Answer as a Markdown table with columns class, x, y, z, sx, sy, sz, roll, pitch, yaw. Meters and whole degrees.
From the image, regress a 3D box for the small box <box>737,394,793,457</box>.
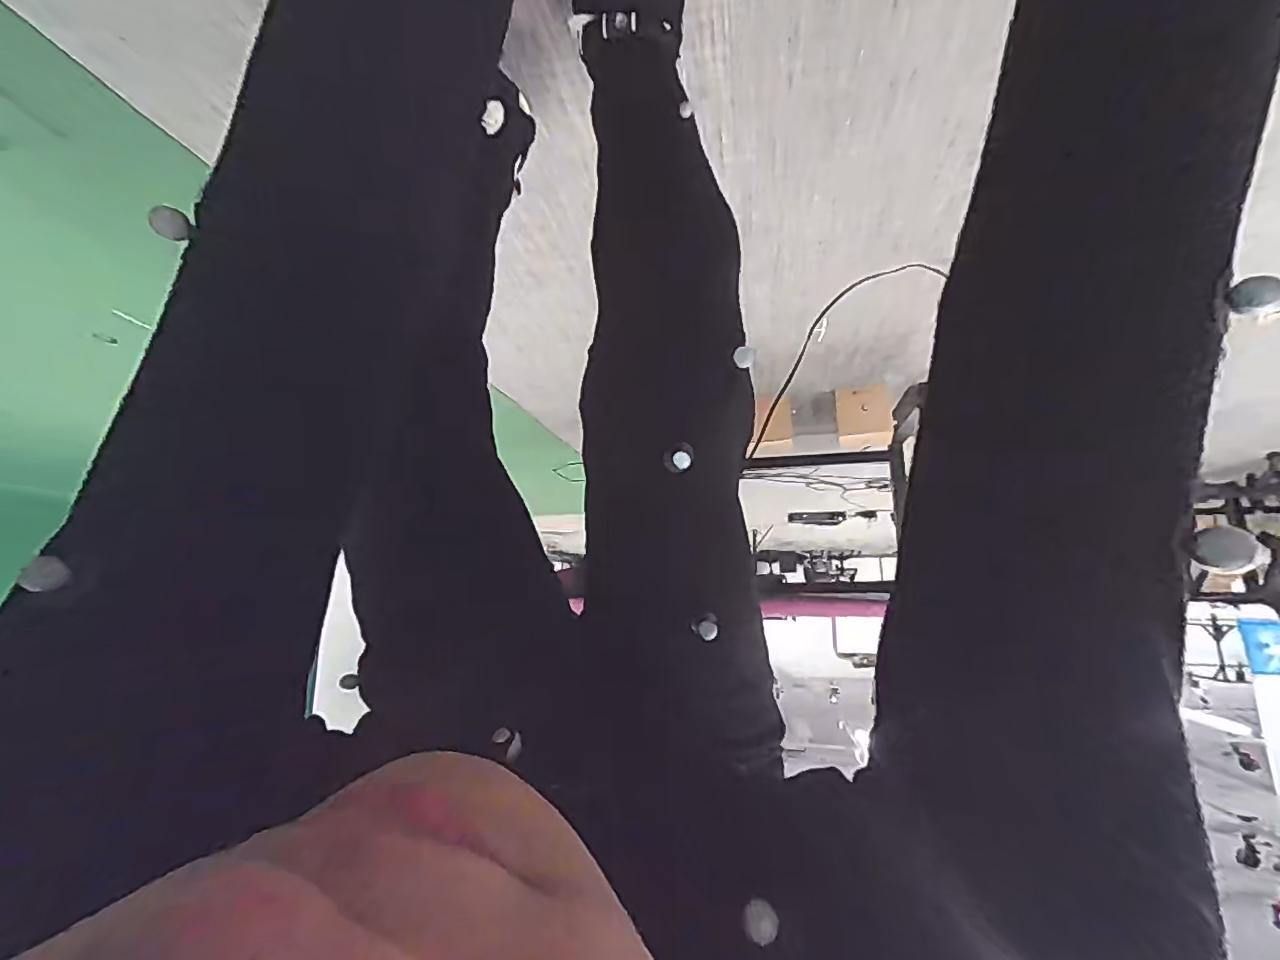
| class | x | y | z | sx | sy | sz | roll | pitch | yaw |
| --- | --- | --- | --- | --- | --- | --- | --- | --- | --- |
| small box | 0.435 | -0.187 | 1.882 | 0.179 | 0.176 | 0.168 | -5 | 168 | 18 |

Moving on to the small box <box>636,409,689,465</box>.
| class | x | y | z | sx | sy | sz | roll | pitch | yaw |
| --- | --- | --- | --- | --- | --- | --- | --- | --- | --- |
| small box | 0.082 | -0.160 | 1.985 | 0.168 | 0.176 | 0.179 | -3 | 169 | 15 |

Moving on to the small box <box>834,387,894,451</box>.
| class | x | y | z | sx | sy | sz | roll | pitch | yaw |
| --- | --- | --- | --- | --- | --- | --- | --- | --- | --- |
| small box | 0.744 | -0.205 | 1.809 | 0.168 | 0.176 | 0.179 | -5 | 168 | 20 |
